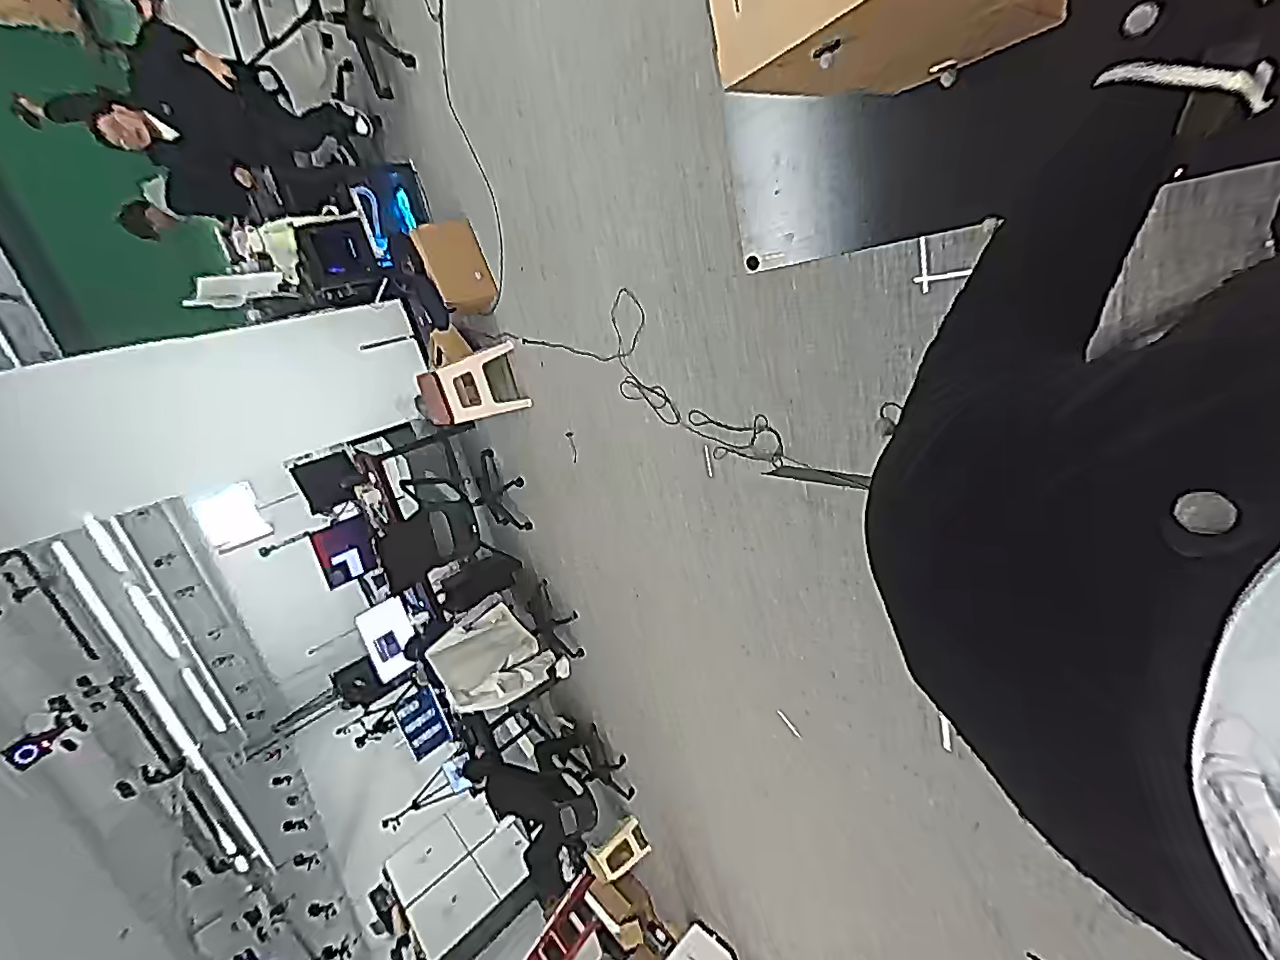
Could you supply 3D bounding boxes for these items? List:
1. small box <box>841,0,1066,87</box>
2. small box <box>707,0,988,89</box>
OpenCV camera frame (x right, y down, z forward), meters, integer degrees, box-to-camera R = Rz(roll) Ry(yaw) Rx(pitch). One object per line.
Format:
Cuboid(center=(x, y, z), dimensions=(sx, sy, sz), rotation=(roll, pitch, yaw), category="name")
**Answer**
Cuboid(center=(0.286, -0.508, 0.518), dimensions=(0.168, 0.176, 0.179), rotation=(9, 120, 51), category="small box")
Cuboid(center=(0.165, -0.440, 0.429), dimensions=(0.179, 0.176, 0.168), rotation=(6, 117, 51), category="small box")
